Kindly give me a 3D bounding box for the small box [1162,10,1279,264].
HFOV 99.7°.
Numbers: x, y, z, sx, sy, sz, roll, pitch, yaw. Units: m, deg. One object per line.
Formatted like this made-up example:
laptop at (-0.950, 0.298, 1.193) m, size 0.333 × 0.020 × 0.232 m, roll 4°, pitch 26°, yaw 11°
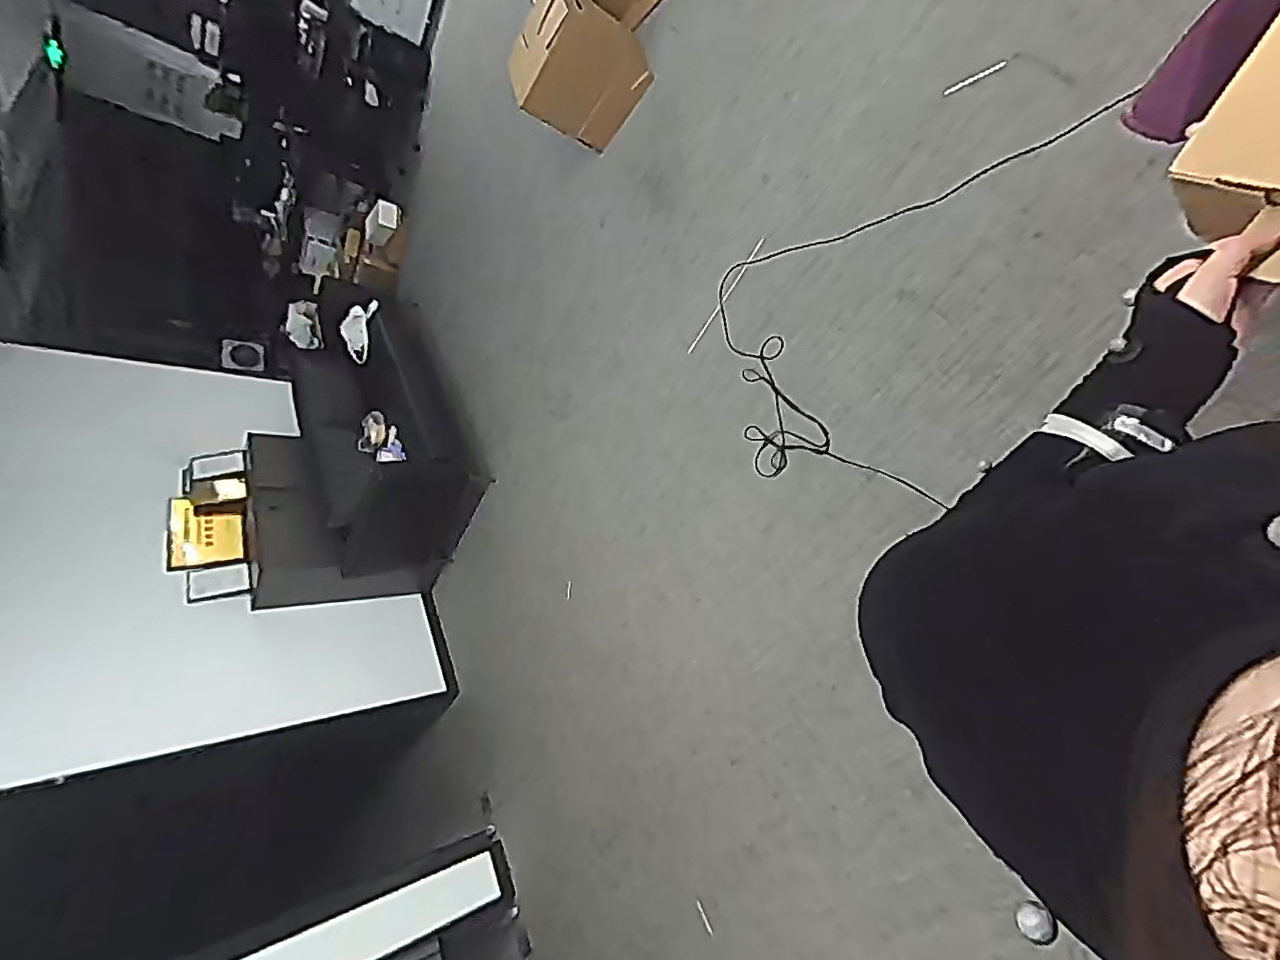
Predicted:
small box at (0.535, -0.258, 0.383) m, size 0.168 × 0.176 × 0.179 m, roll 47°, pitch 125°, yaw 40°
